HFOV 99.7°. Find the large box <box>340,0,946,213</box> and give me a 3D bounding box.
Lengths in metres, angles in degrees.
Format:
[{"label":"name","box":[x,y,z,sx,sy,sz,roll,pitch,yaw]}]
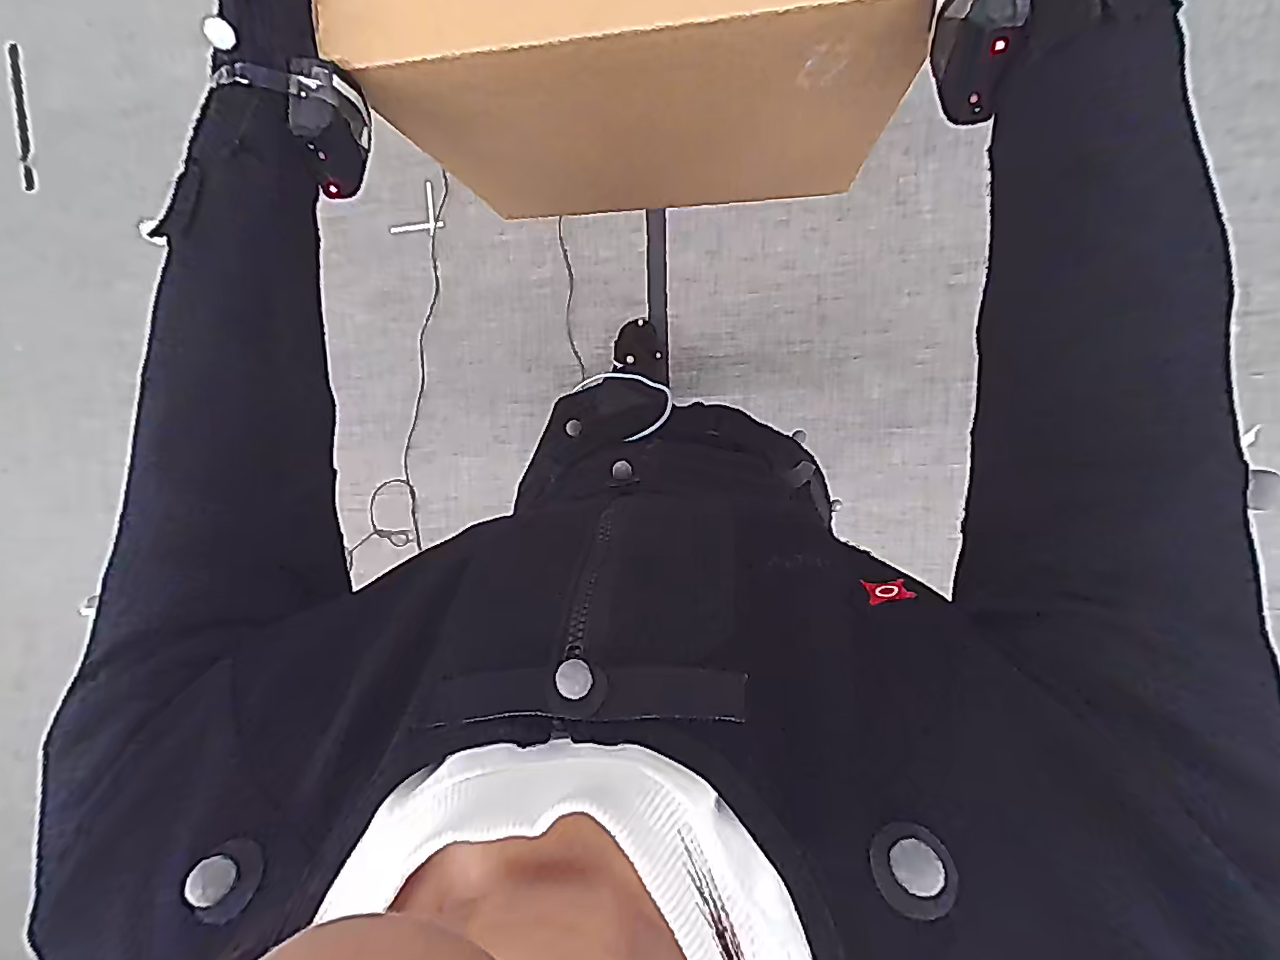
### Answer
[{"label":"large box","box":[0.008,-0.459,0.468,0.408,0.320,0.320,-1,99,8]}]
